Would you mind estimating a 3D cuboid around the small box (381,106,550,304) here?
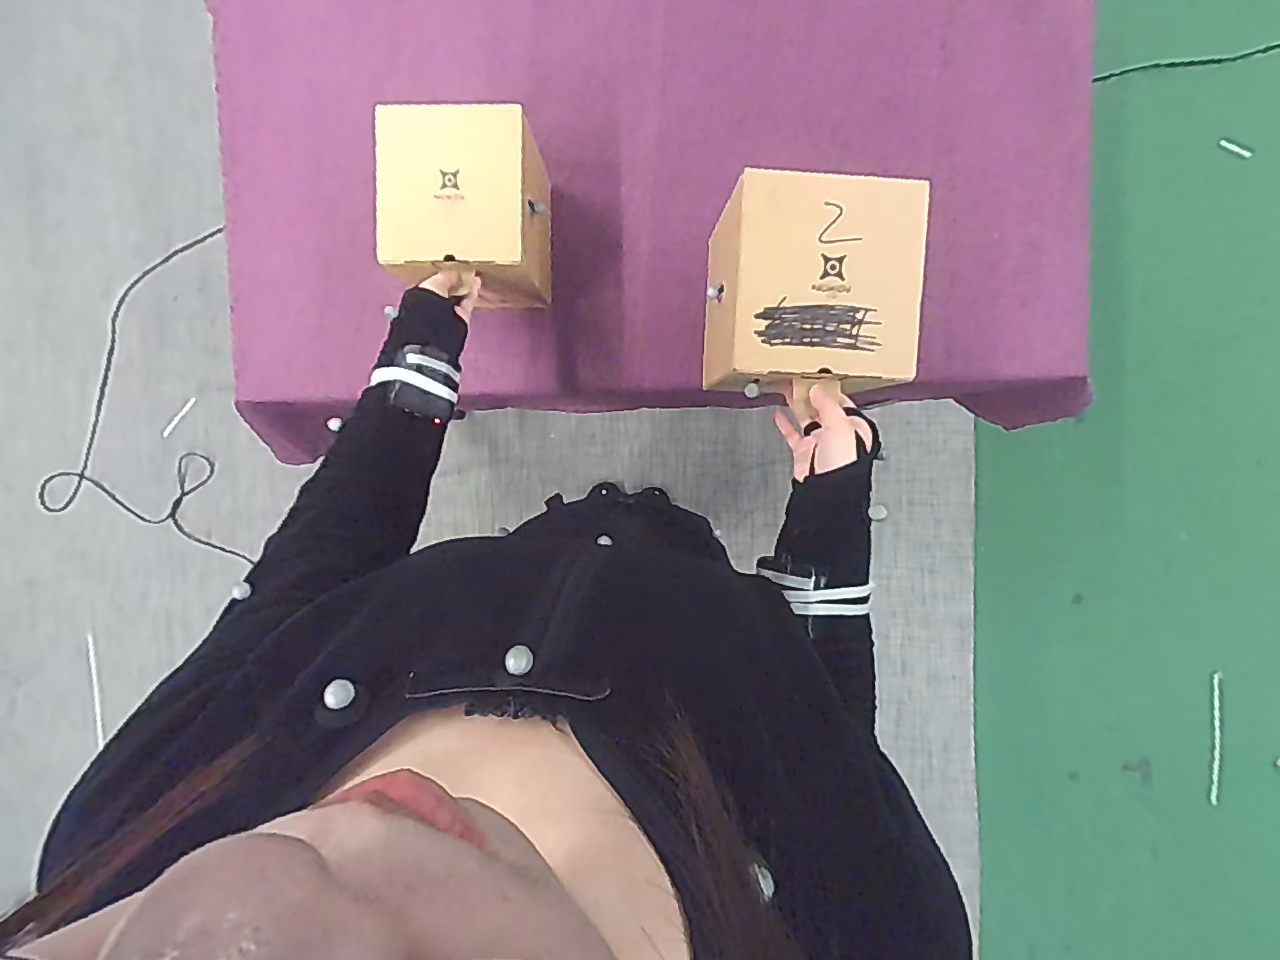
[{"bbox_3d":[-0.213,-0.340,0.696,0.168,0.176,0.179,1,93,1],"label":"small box"}]
